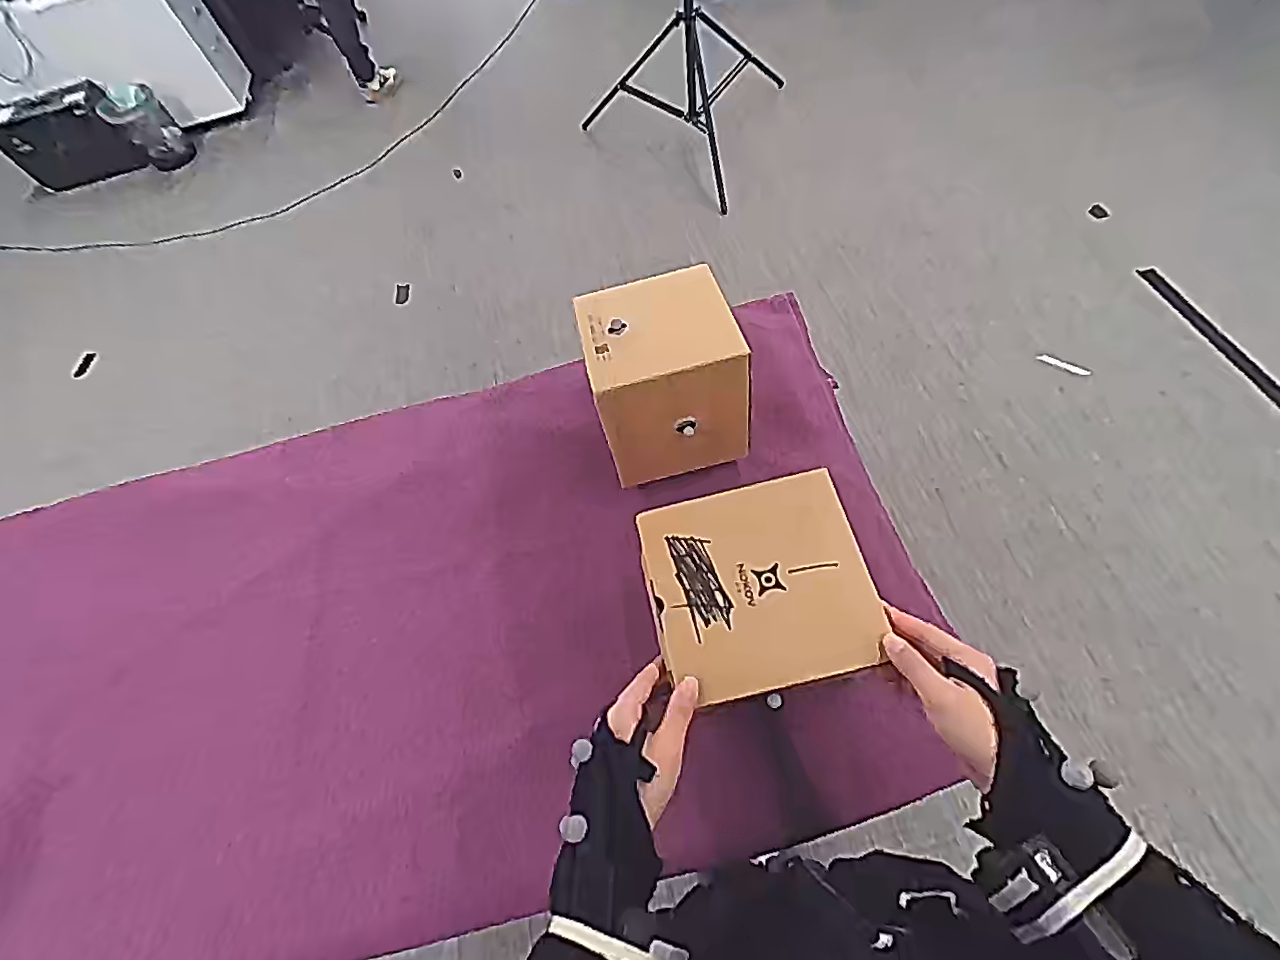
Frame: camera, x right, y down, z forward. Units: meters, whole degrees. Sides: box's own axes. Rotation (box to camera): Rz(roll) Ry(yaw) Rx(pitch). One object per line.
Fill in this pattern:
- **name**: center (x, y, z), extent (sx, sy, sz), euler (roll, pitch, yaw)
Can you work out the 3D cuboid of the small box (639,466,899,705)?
- **small box**: center (0.111, 0.112, 0.515), extent (0.179, 0.176, 0.168), euler (-15, 65, 4)
